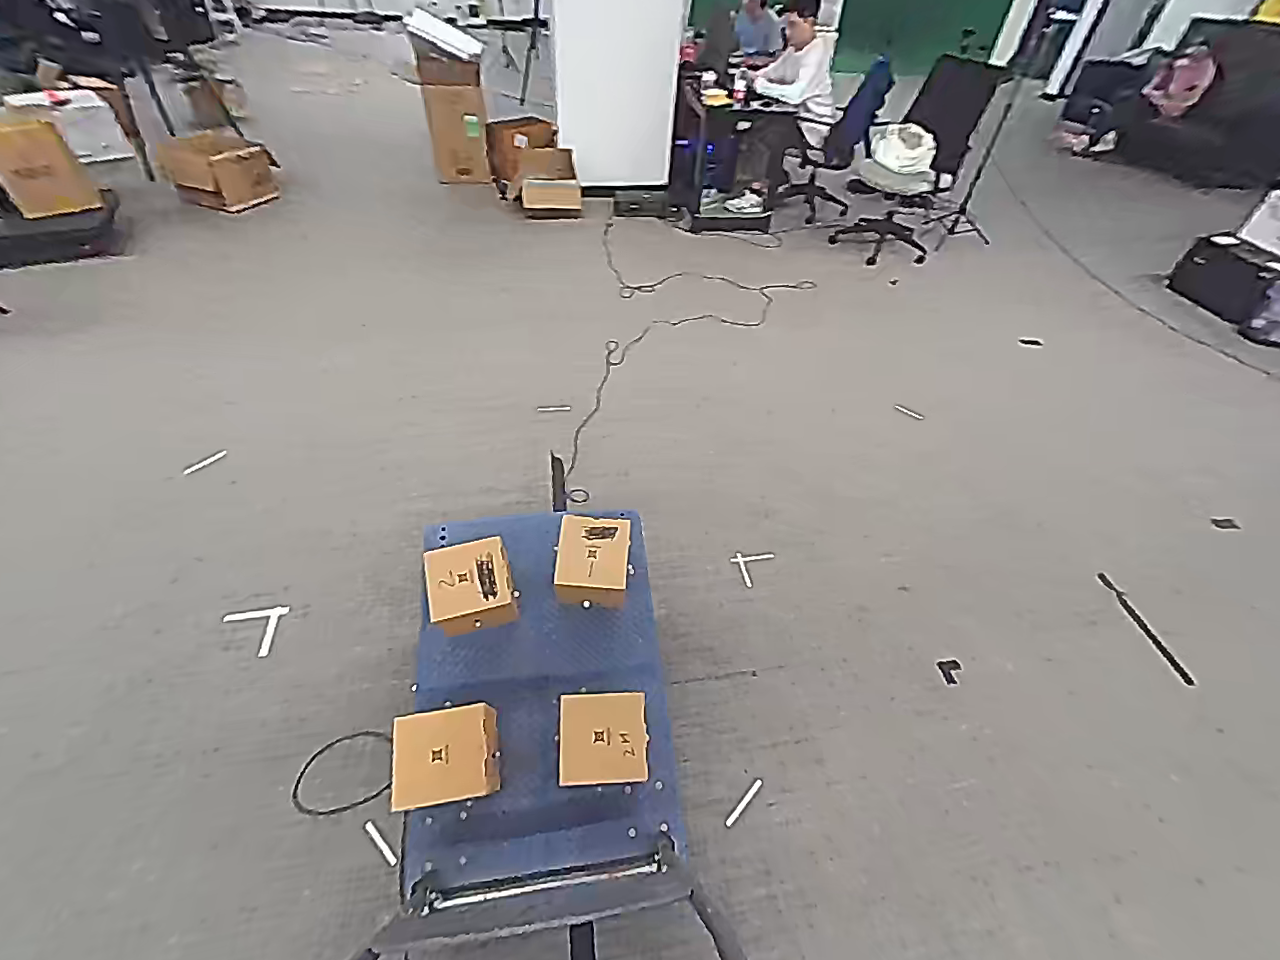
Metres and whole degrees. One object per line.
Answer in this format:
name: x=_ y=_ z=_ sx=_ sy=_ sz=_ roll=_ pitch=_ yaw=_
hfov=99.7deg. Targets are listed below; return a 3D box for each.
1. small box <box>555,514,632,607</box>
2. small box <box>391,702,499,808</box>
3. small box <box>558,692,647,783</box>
small box: x=-0.113 y=0.202 z=1.336 sx=0.168 sy=0.176 sz=0.179 roll=6 pitch=63 yaw=-3
small box: x=-0.394 y=0.567 z=1.115 sx=0.179 sy=0.176 sz=0.168 roll=-6 pitch=63 yaw=-10
small box: x=-0.079 y=0.551 z=1.153 sx=0.179 sy=0.176 sz=0.168 roll=0 pitch=63 yaw=-5
